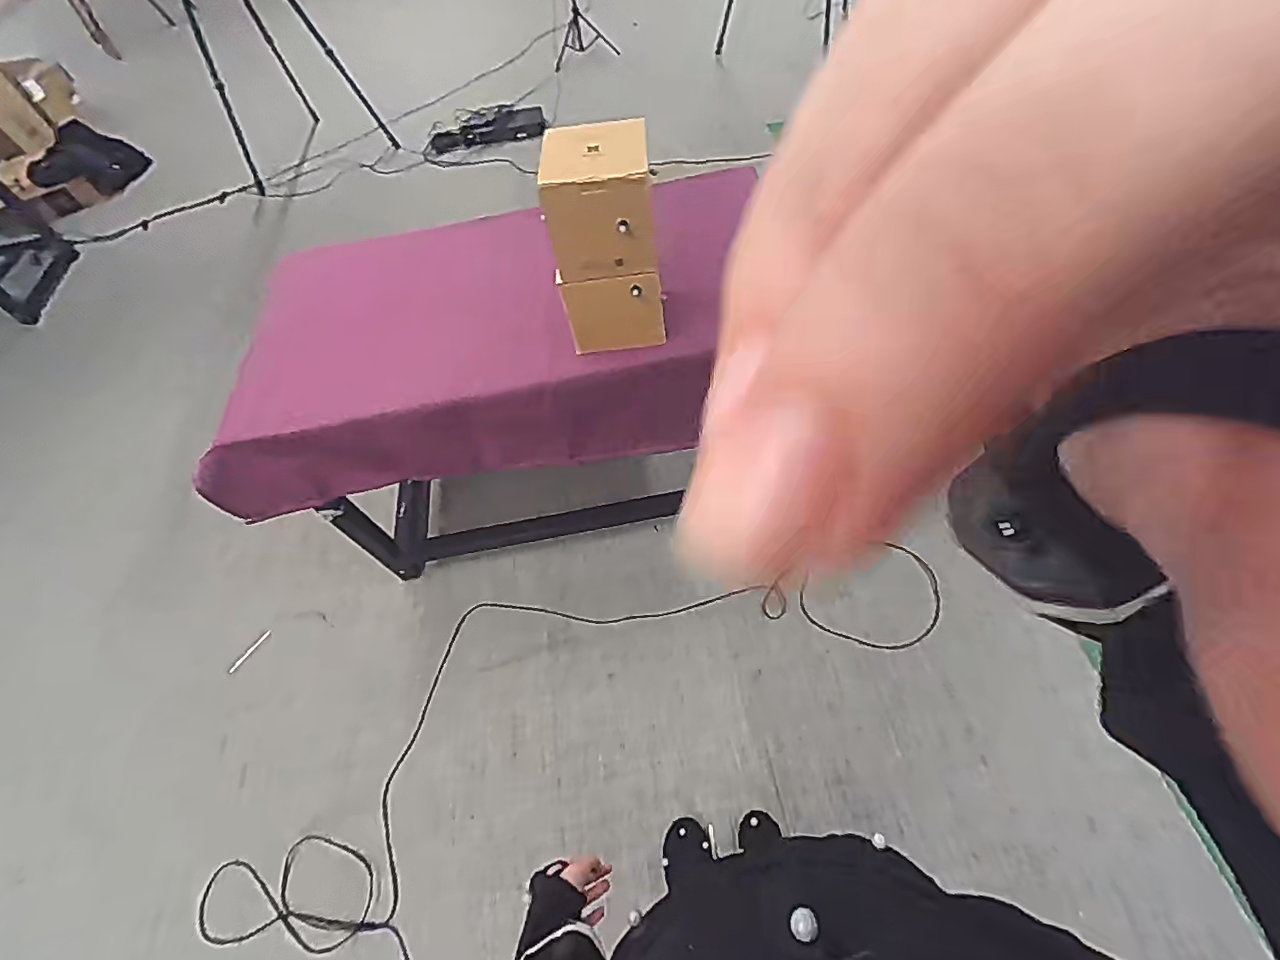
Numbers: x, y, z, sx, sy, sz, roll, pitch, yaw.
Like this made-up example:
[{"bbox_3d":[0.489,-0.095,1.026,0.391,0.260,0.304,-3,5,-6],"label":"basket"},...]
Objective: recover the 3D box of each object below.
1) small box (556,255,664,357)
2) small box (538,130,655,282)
[{"bbox_3d":[-0.053,-0.355,1.041,0.179,0.176,0.168,-6,55,4],"label":"small box"},{"bbox_3d":[-0.064,-0.451,0.909,0.168,0.176,0.179,-4,55,4],"label":"small box"}]
